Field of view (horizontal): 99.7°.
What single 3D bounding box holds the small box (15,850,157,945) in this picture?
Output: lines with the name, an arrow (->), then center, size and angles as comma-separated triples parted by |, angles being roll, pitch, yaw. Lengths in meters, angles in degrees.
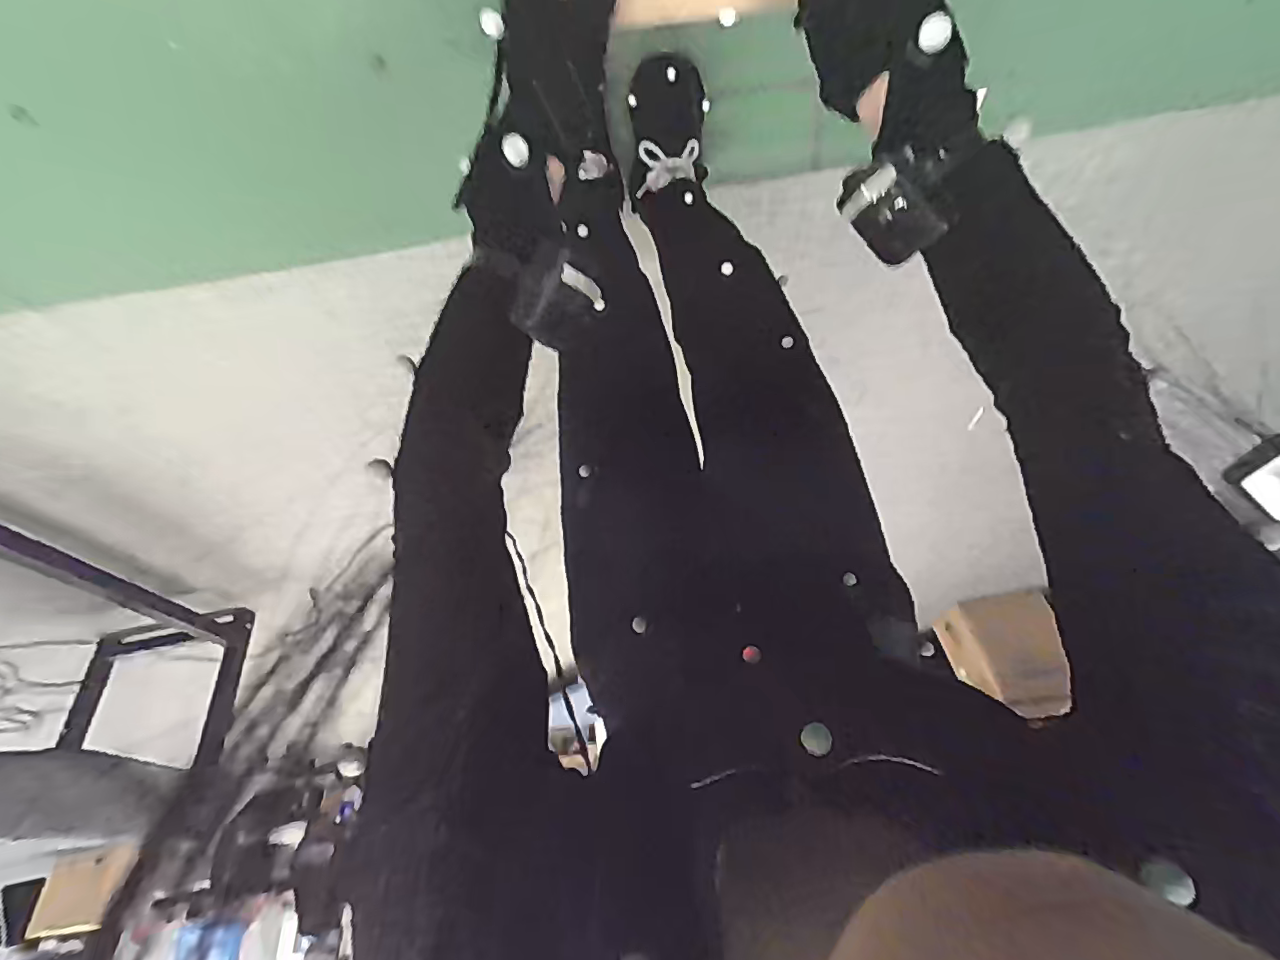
small box -> -1.448, 1.094, 1.428 | 0.168, 0.176, 0.179 | -11, 145, 0
